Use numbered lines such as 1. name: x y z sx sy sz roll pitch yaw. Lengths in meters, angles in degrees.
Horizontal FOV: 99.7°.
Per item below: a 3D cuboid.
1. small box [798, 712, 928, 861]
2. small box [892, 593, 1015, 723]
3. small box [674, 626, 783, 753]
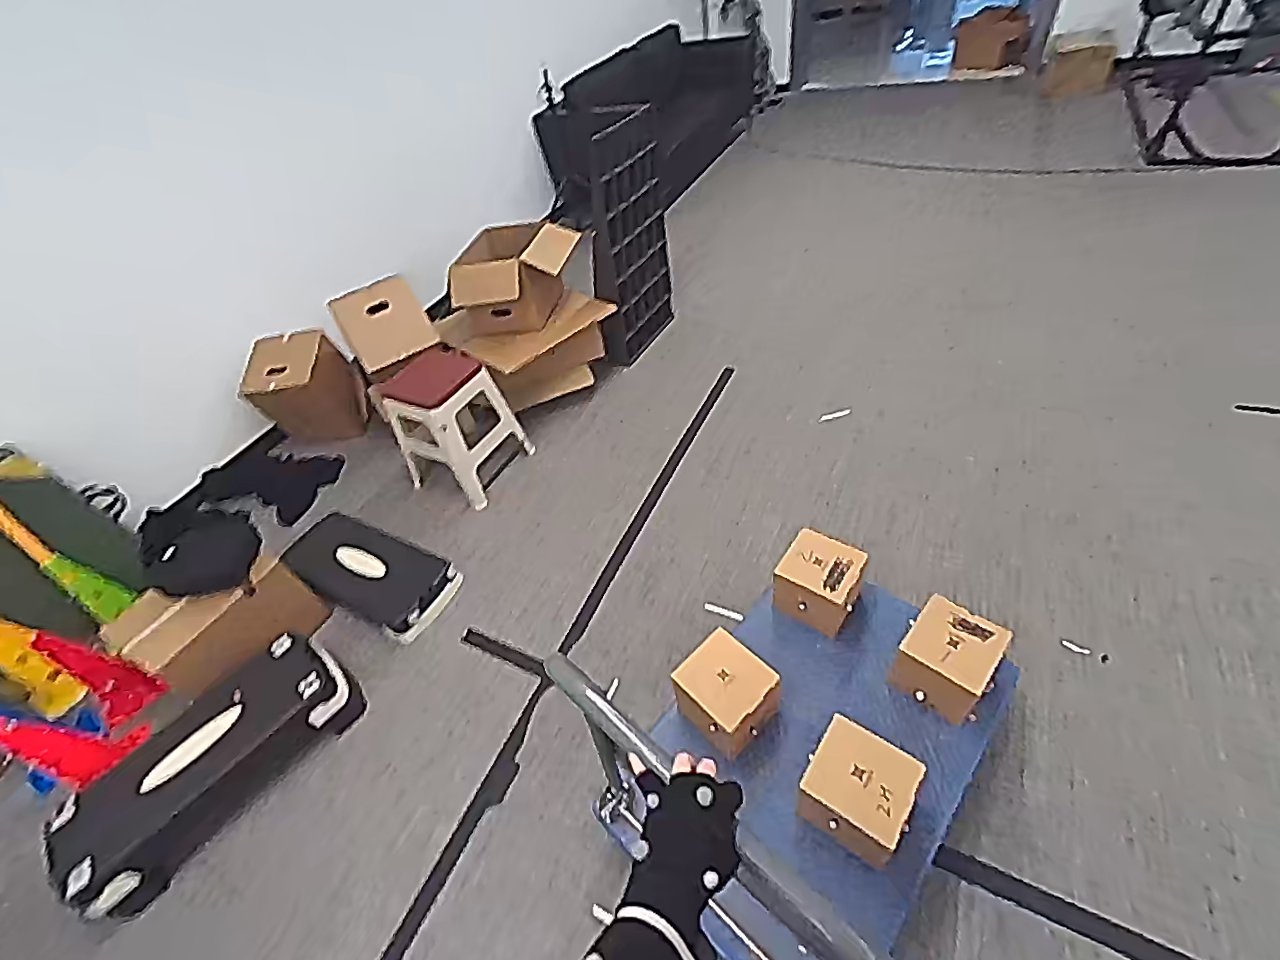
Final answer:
1. small box: 0.423 0.598 1.049 0.179 0.176 0.168 25 56 31
2. small box: 0.682 0.394 1.197 0.168 0.176 0.179 30 60 34
3. small box: 0.198 0.475 1.218 0.168 0.176 0.179 -37 51 -24
